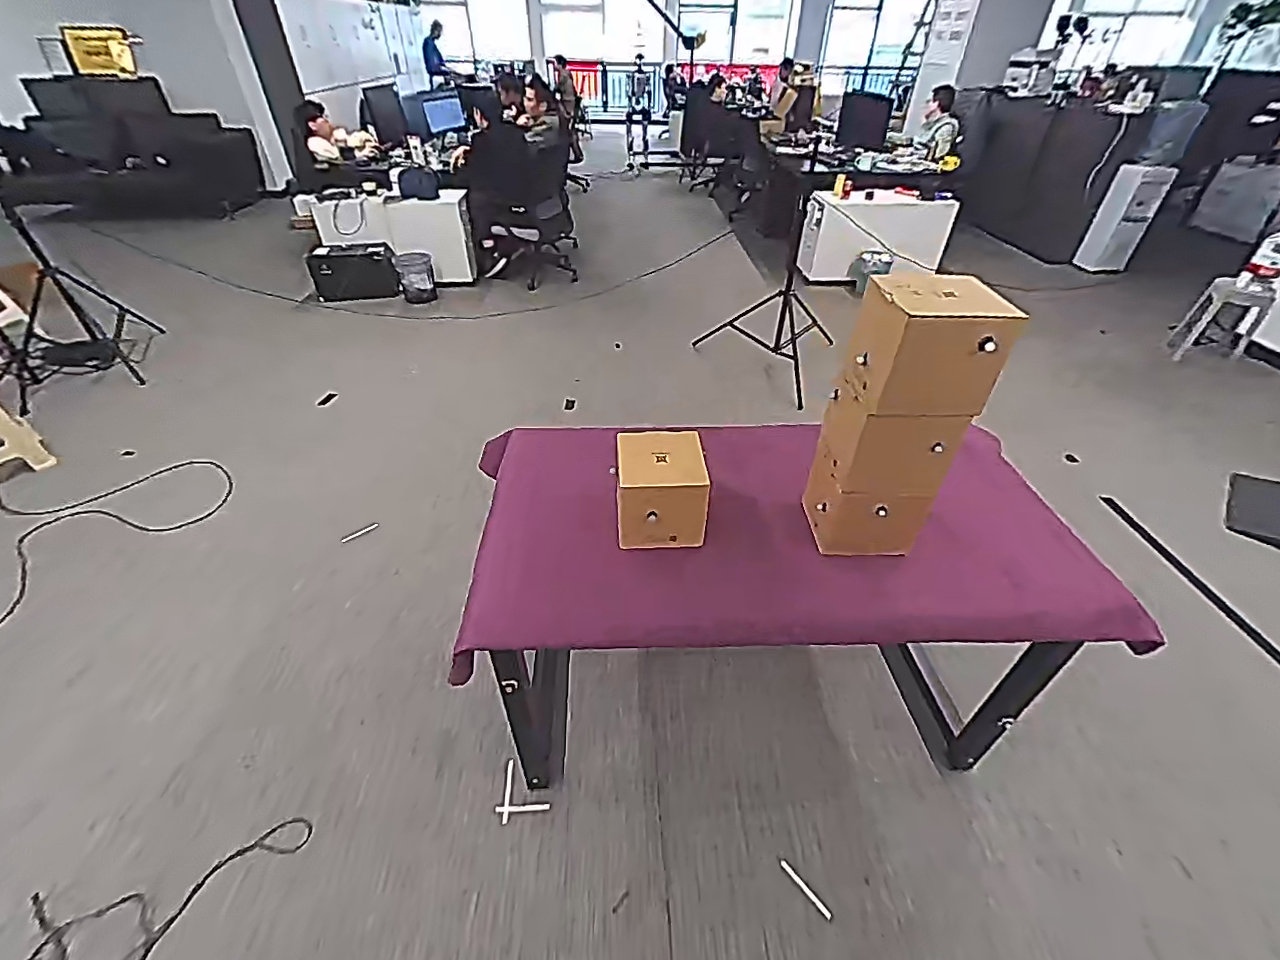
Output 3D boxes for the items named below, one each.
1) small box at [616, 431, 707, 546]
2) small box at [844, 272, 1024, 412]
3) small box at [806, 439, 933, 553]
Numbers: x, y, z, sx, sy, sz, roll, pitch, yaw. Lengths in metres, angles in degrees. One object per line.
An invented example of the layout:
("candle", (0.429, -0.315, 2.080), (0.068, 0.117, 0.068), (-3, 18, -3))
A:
("small box", (0.039, 0.021, 1.091), (0.168, 0.176, 0.179), (-2, 39, -3))
("small box", (0.454, -0.220, 0.870), (0.179, 0.176, 0.168), (-1, 39, -1))
("small box", (0.442, 0.032, 1.081), (0.179, 0.176, 0.168), (0, 40, -1))
